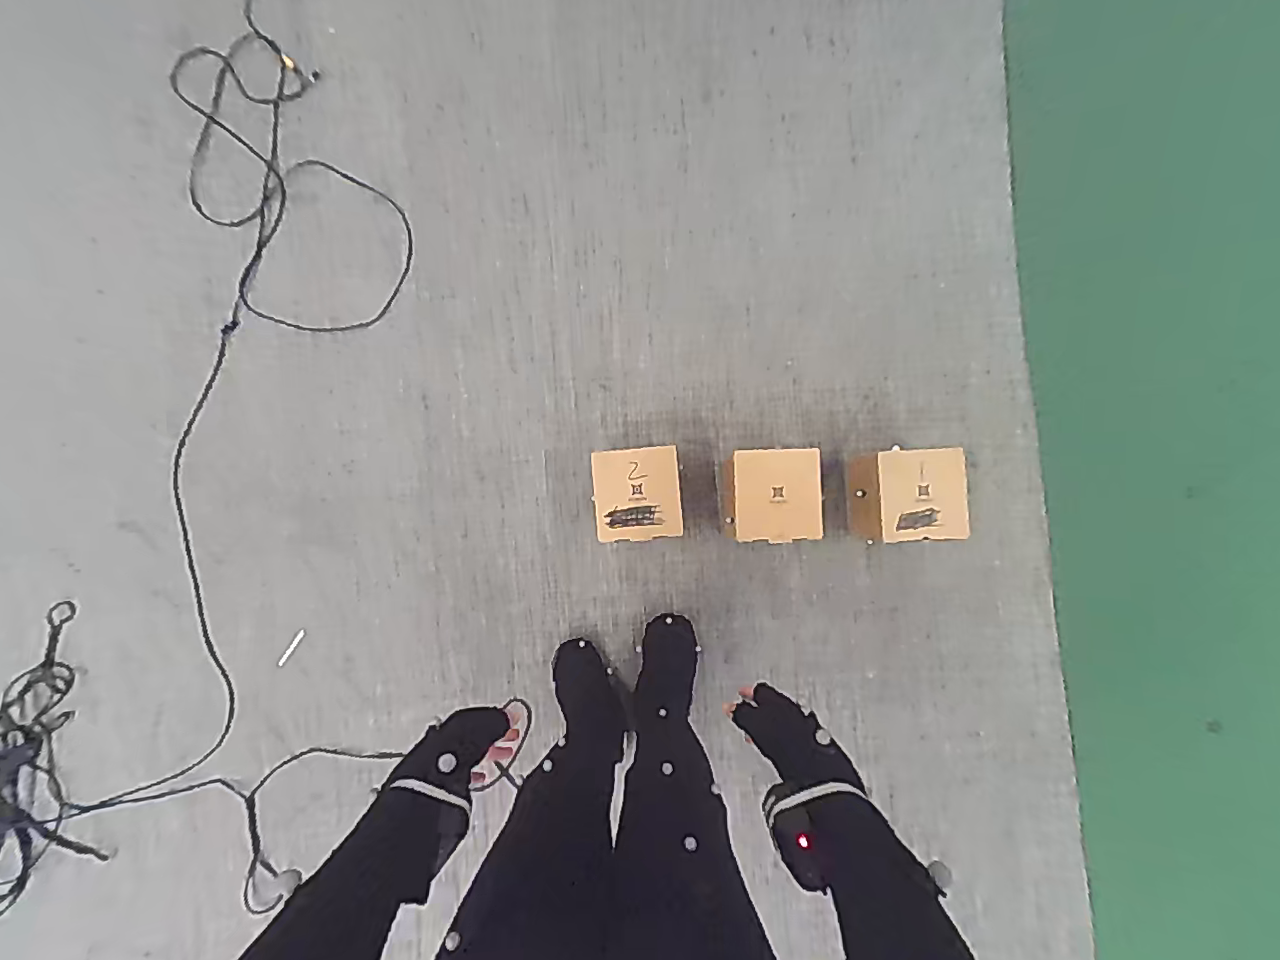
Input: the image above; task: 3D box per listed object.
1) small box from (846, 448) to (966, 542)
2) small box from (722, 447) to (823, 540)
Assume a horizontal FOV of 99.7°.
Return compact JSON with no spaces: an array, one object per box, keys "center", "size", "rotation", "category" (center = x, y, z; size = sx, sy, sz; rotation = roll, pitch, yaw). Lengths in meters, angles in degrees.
[{"center":[0.532,0.031,1.100],"size":[0.168,0.176,0.179],"rotation":[-2,87,1],"category":"small box"},{"center":[0.263,0.030,1.105],"size":[0.168,0.176,0.179],"rotation":[-2,88,1],"category":"small box"}]
